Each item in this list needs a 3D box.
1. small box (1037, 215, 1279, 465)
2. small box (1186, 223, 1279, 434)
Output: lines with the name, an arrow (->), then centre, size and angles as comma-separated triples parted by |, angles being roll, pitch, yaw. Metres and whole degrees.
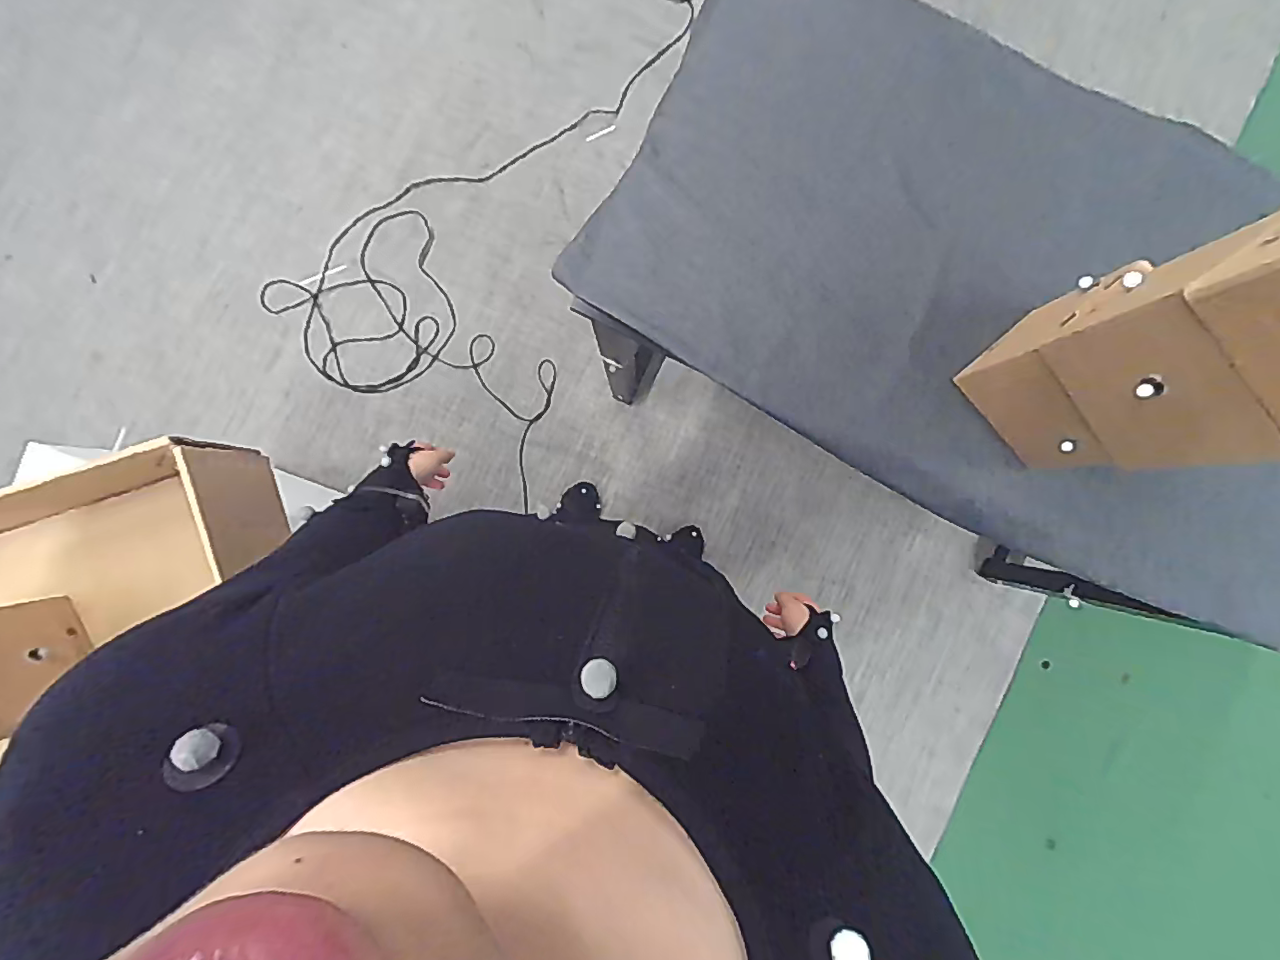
small box -> 0.557, -0.126, 0.532 | 0.168, 0.176, 0.179 | -32, 88, -2
small box -> 0.556, -0.135, 0.370 | 0.168, 0.176, 0.179 | -35, 89, -2
